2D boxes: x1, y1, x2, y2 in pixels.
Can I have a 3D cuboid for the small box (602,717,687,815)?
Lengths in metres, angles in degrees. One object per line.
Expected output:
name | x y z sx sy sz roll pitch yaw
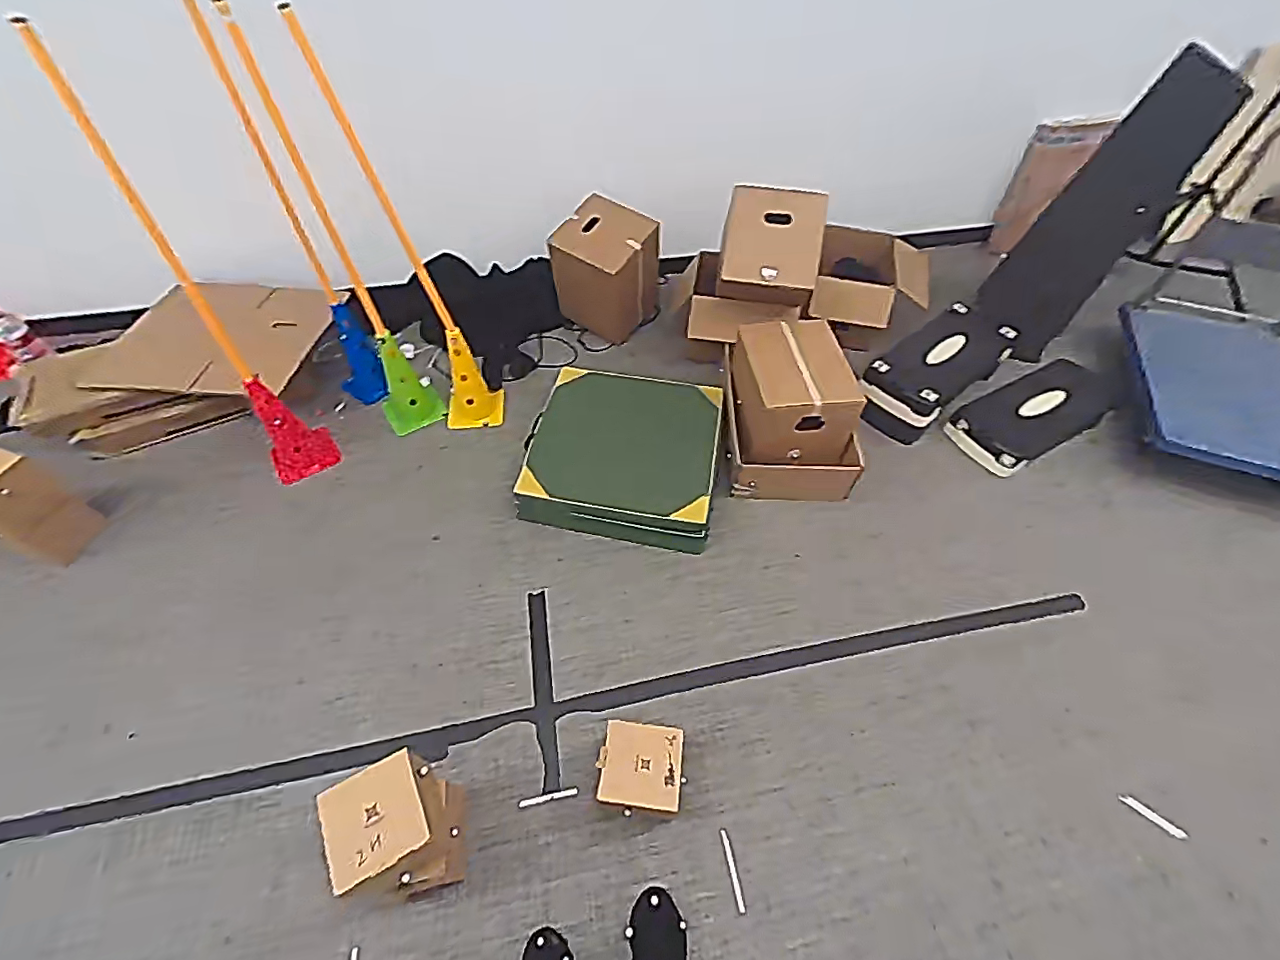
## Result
small box | 0.011 0.664 1.249 0.179 0.176 0.168 5 52 2

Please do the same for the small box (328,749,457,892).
small box | -0.471 0.655 1.039 0.168 0.176 0.179 -21 57 -14

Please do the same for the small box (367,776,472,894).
small box | -0.465 0.764 1.163 0.168 0.176 0.179 -10 52 -8
